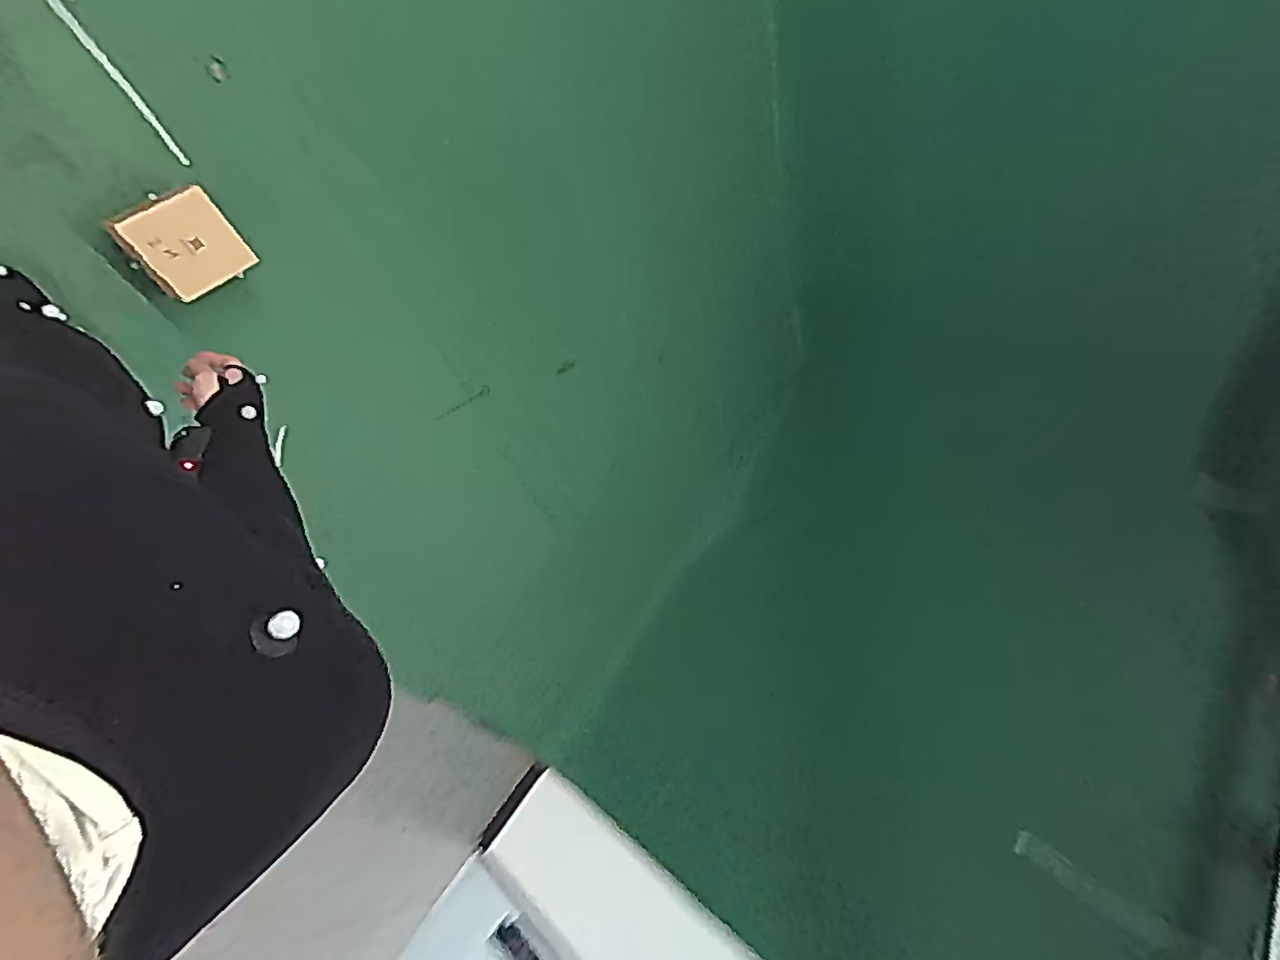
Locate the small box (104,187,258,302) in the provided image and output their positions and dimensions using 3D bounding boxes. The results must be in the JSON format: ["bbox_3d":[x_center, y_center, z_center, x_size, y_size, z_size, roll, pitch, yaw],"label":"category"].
[{"bbox_3d":[-0.980,-0.507,1.155,0.179,0.176,0.168,-48,139,-25],"label":"small box"}]
